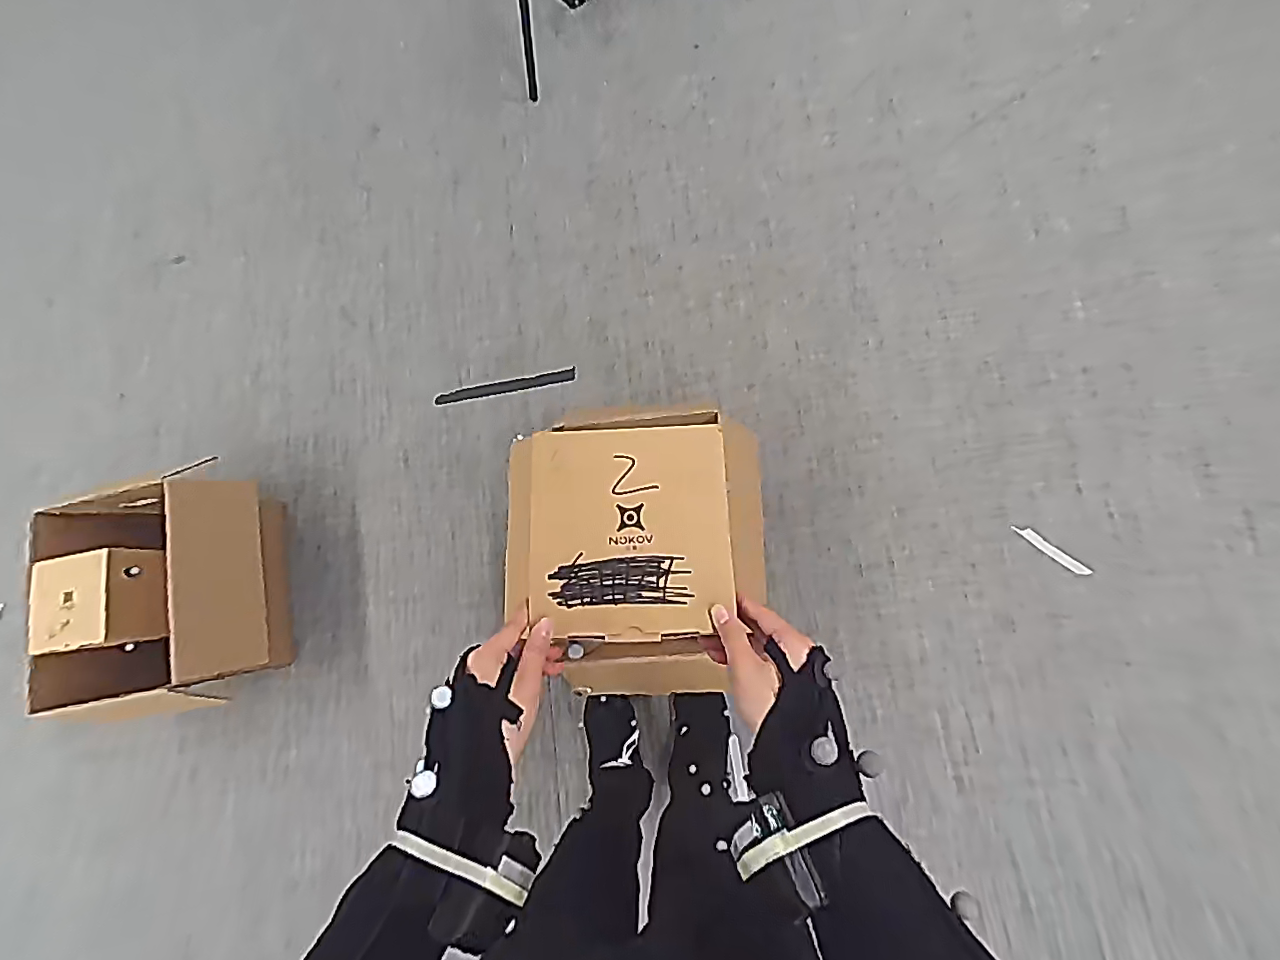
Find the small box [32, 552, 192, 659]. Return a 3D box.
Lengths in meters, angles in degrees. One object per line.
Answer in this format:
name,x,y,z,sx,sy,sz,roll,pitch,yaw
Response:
small box,-1.048,0.249,1.089,0.168,0.176,0.179,-11,79,7
